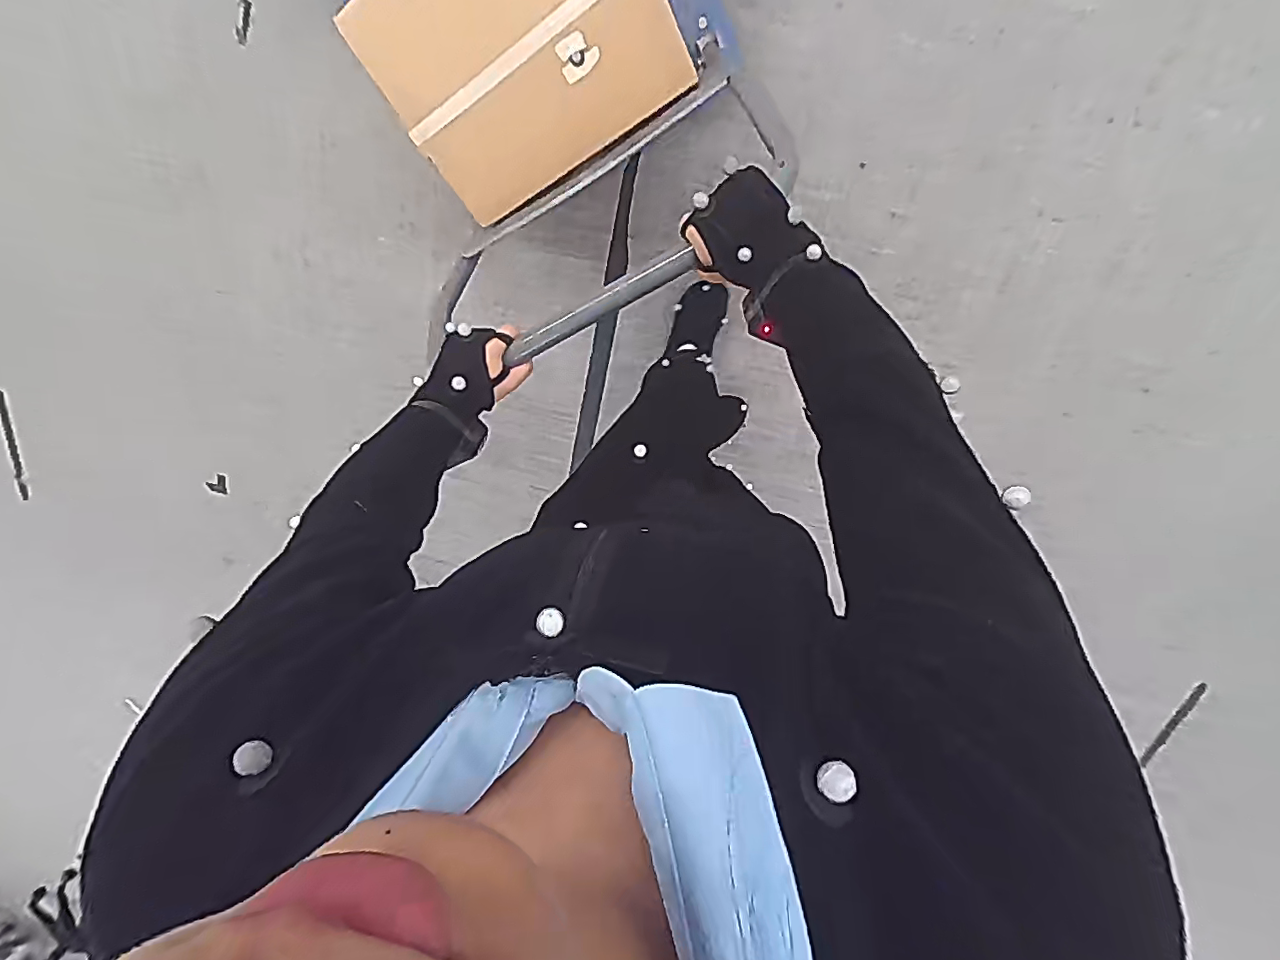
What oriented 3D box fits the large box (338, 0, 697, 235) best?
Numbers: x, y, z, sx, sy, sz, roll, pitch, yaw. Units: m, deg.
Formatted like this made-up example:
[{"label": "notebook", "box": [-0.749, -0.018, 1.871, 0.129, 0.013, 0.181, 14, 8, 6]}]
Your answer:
[{"label": "large box", "box": [-0.164, -0.672, 0.854, 0.408, 0.320, 0.320, -24, 127, 19]}]
